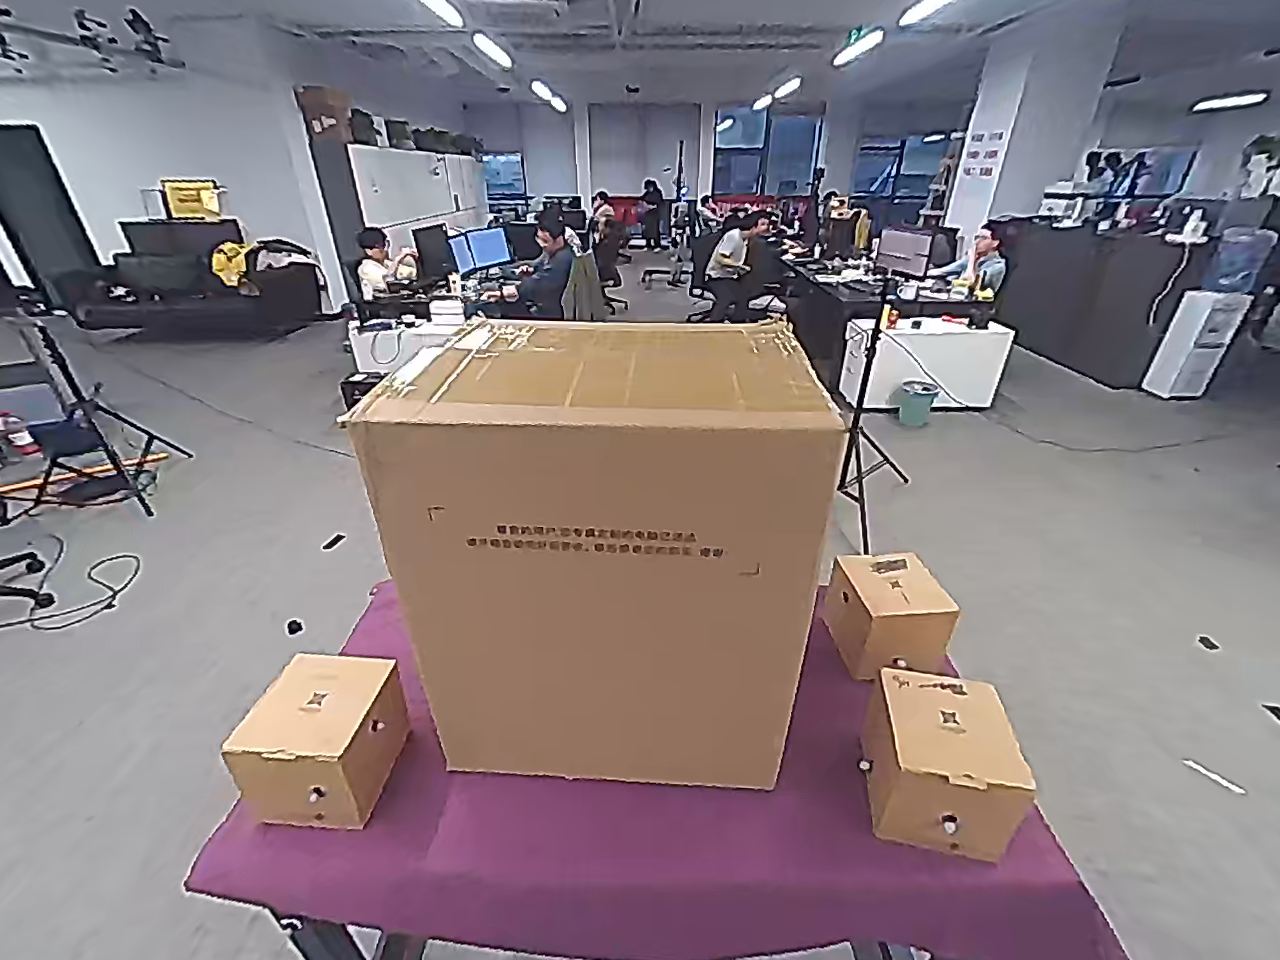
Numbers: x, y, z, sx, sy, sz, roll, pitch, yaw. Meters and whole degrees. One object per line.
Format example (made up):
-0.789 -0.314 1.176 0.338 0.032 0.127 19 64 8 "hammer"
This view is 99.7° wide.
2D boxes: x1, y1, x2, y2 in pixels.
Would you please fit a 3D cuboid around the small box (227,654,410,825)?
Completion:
-0.474 0.397 0.834 0.168 0.176 0.179 4 27 1 "small box"
